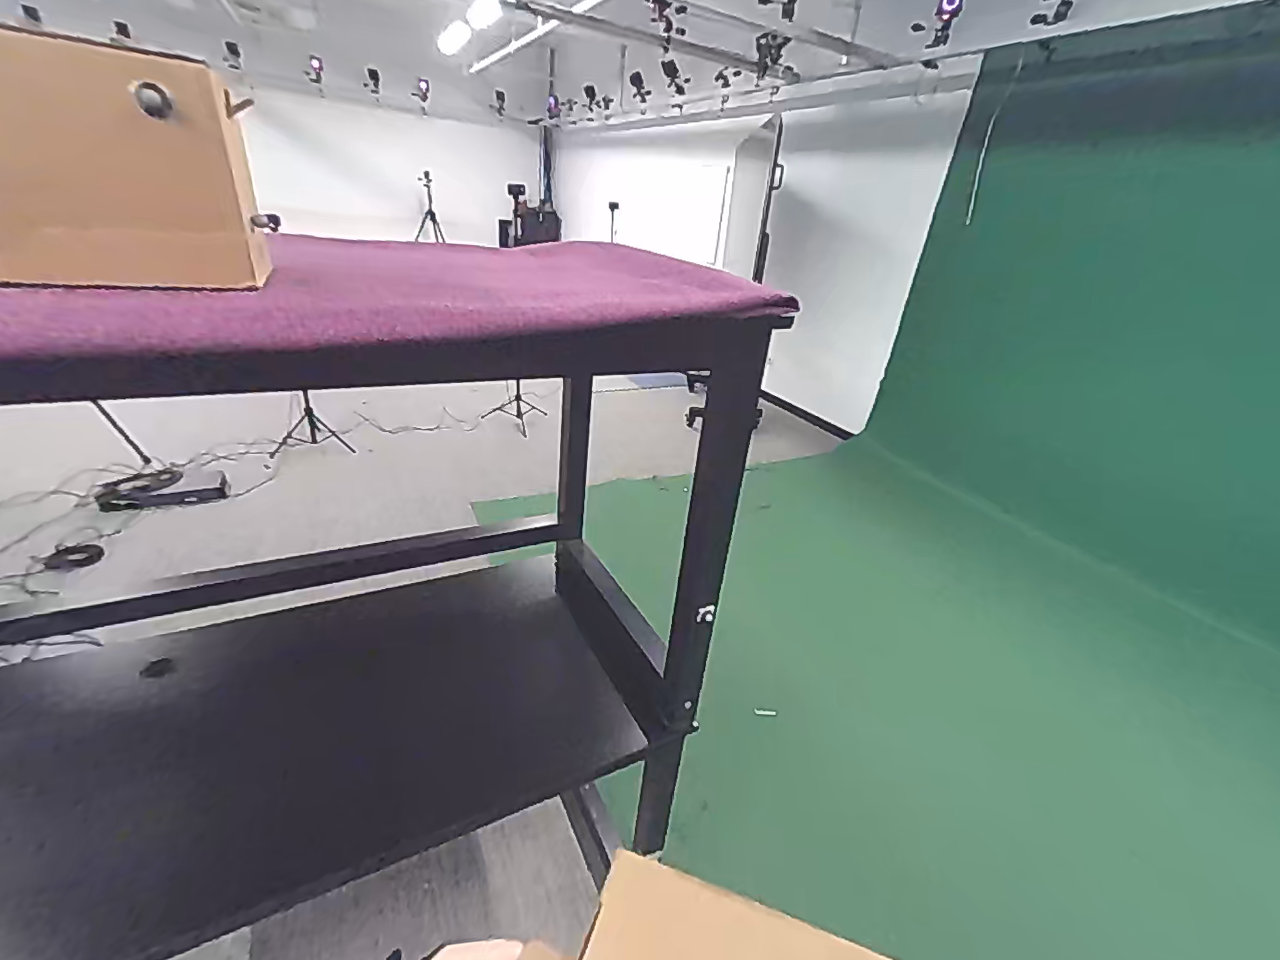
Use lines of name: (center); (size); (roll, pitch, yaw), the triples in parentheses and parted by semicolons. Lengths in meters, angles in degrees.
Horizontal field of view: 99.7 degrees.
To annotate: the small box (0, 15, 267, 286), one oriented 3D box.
small box: (-0.444, -0.260, 0.458); (0.179, 0.176, 0.168); (-9, 29, -28)
